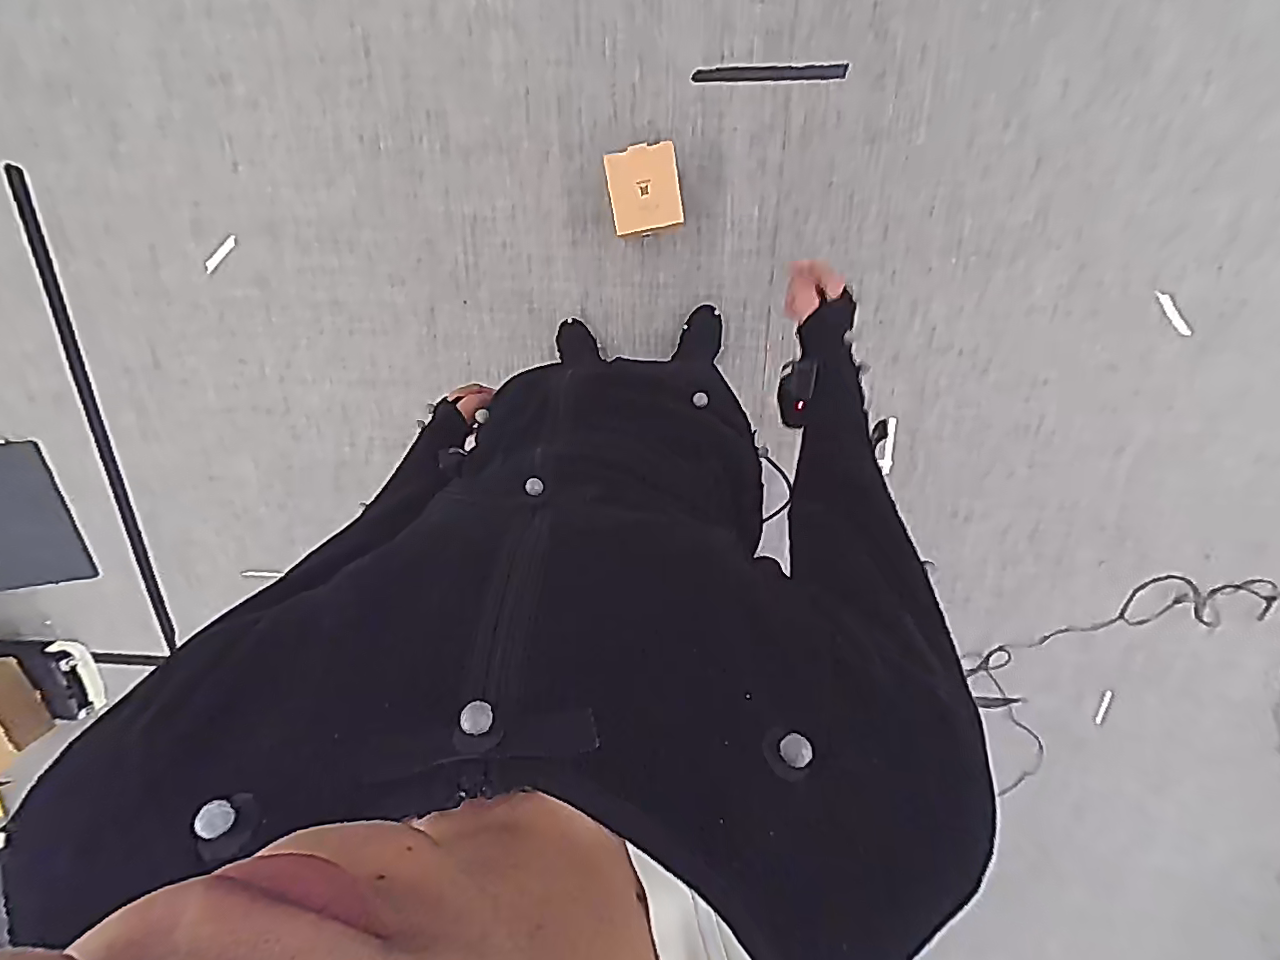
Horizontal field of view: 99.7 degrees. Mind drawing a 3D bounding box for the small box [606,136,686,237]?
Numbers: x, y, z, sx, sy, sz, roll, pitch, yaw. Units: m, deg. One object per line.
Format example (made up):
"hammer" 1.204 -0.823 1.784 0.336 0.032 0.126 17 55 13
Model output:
"small box" 0.018 -0.708 1.324 0.168 0.176 0.179 -9 109 6
